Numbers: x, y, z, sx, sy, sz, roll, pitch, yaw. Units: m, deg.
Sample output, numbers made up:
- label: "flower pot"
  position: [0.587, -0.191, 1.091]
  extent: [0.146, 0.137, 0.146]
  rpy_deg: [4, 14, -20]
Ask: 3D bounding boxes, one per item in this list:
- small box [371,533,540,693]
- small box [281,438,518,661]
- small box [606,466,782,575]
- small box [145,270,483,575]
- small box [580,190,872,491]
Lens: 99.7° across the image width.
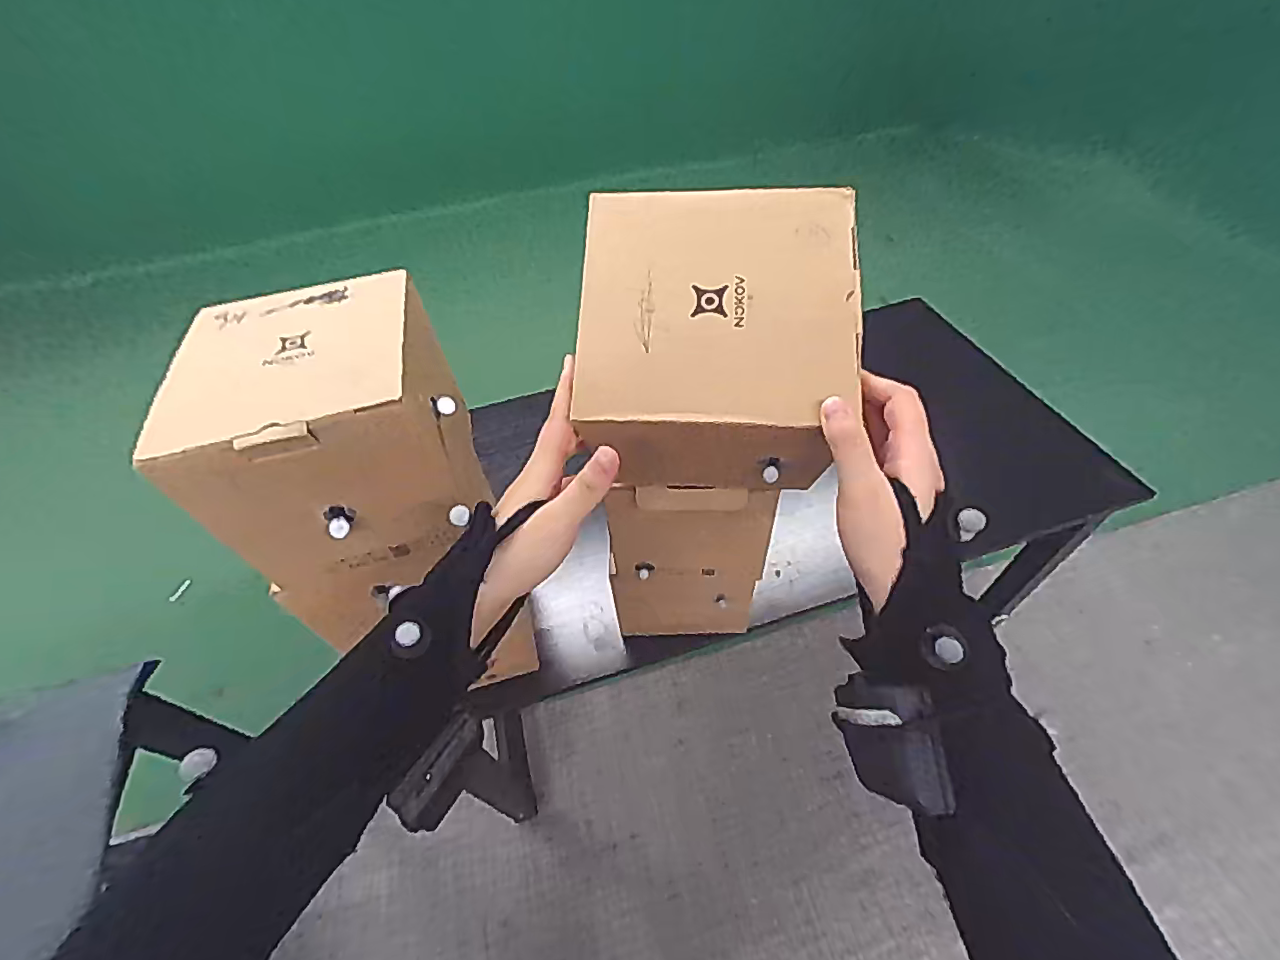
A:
- label: "small box"
  position: [-0.236, 0.160, 0.708]
  extent: [0.168, 0.176, 0.179]
  rpy_deg: [-14, 50, -8]
- label: "small box"
  position: [-0.236, 0.067, 0.575]
  extent: [0.179, 0.176, 0.168]
  rpy_deg: [-15, 51, -8]
- label: "small box"
  position: [0.059, -0.006, 0.606]
  extent: [0.168, 0.176, 0.179]
  rpy_deg: [0, 50, 4]
- label: "small box"
  position: [-0.238, -0.039, 0.448]
  extent: [0.168, 0.176, 0.179]
  rpy_deg: [-14, 52, -6]
- label: "small box"
  position: [0.062, -0.091, 0.418]
  extent: [0.179, 0.176, 0.168]
  rpy_deg: [1, 75, 7]
